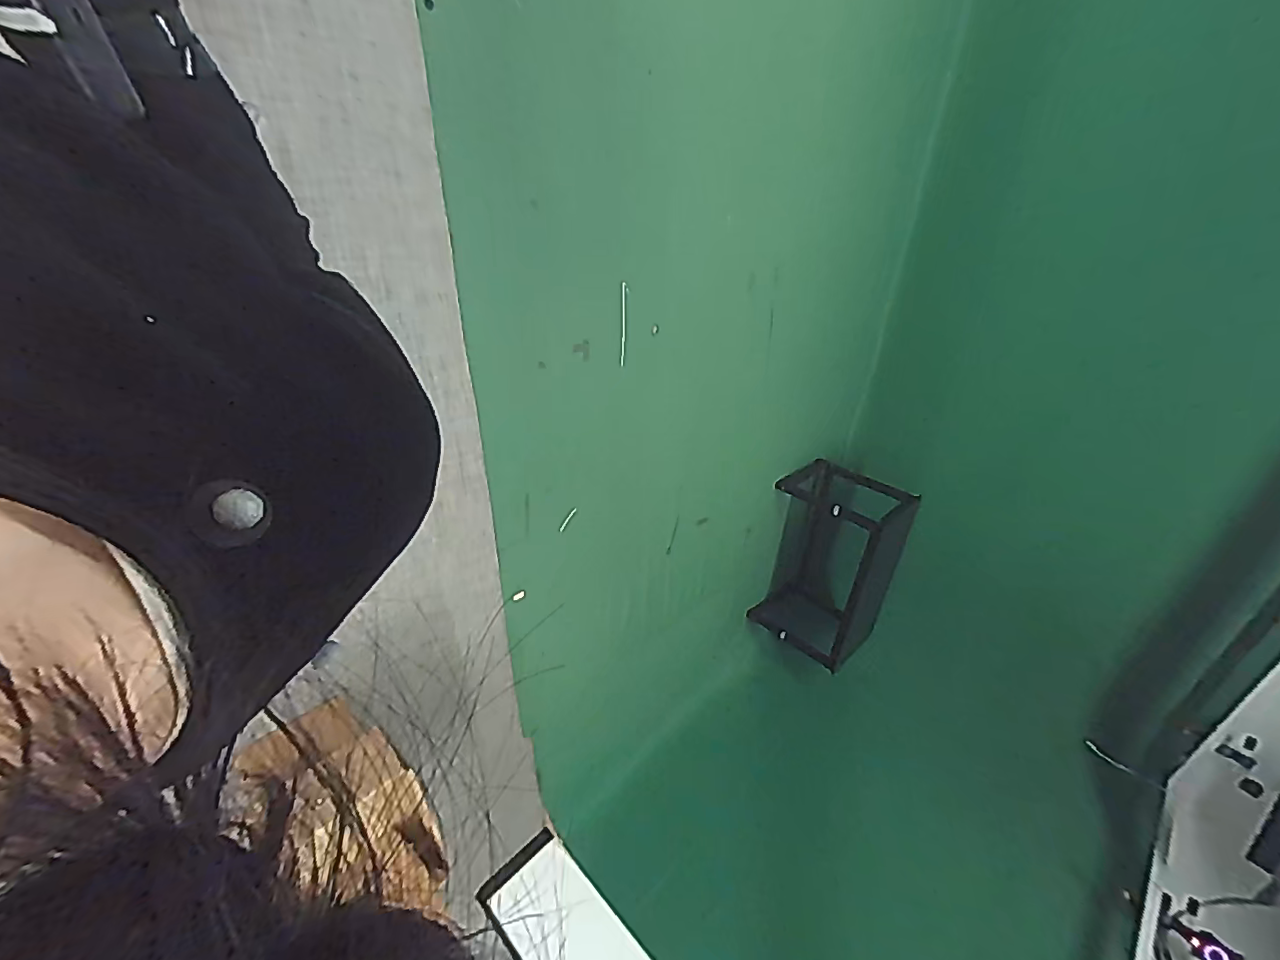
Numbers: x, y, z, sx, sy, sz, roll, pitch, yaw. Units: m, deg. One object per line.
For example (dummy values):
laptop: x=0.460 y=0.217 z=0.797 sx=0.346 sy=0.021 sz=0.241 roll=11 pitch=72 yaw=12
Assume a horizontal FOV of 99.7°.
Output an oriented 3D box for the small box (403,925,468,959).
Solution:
small box: x=-0.519 y=1.306 z=1.389 sx=0.168 sy=0.176 sz=0.179 roll=-31 pitch=133 yaw=-36

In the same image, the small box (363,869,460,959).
small box: x=-0.632 y=1.233 z=1.486 sx=0.179 sy=0.176 sz=0.168 roll=-33 pitch=134 yaw=-34
